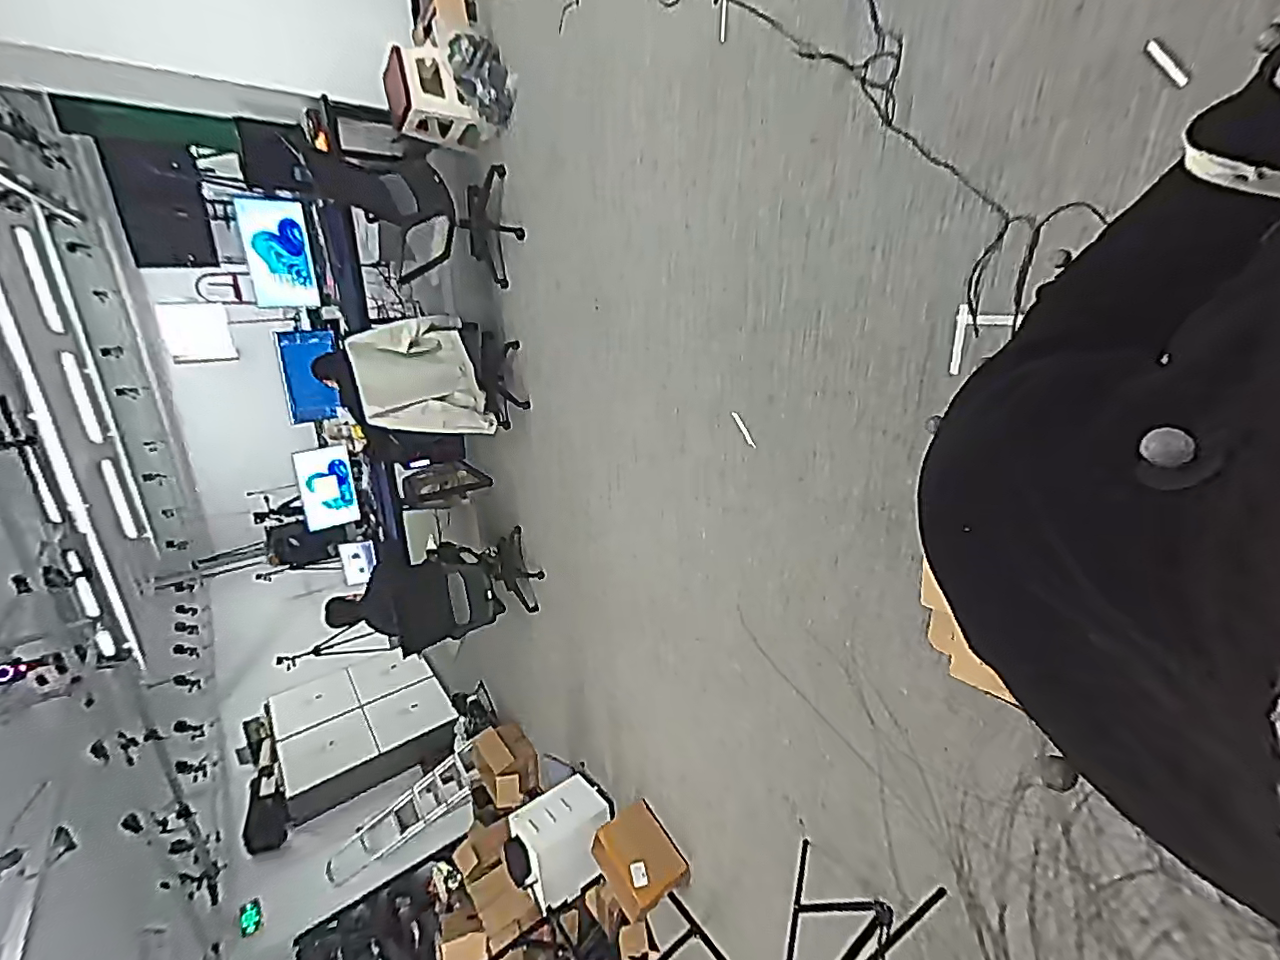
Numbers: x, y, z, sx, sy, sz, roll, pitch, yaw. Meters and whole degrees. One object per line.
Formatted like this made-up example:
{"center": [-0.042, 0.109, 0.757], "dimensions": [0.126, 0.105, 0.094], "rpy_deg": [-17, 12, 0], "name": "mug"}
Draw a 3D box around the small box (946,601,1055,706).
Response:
{"center": [0.910, 0.427, 1.370], "dimensions": [0.179, 0.176, 0.168], "rpy_deg": [15, 117, 50], "name": "small box"}
